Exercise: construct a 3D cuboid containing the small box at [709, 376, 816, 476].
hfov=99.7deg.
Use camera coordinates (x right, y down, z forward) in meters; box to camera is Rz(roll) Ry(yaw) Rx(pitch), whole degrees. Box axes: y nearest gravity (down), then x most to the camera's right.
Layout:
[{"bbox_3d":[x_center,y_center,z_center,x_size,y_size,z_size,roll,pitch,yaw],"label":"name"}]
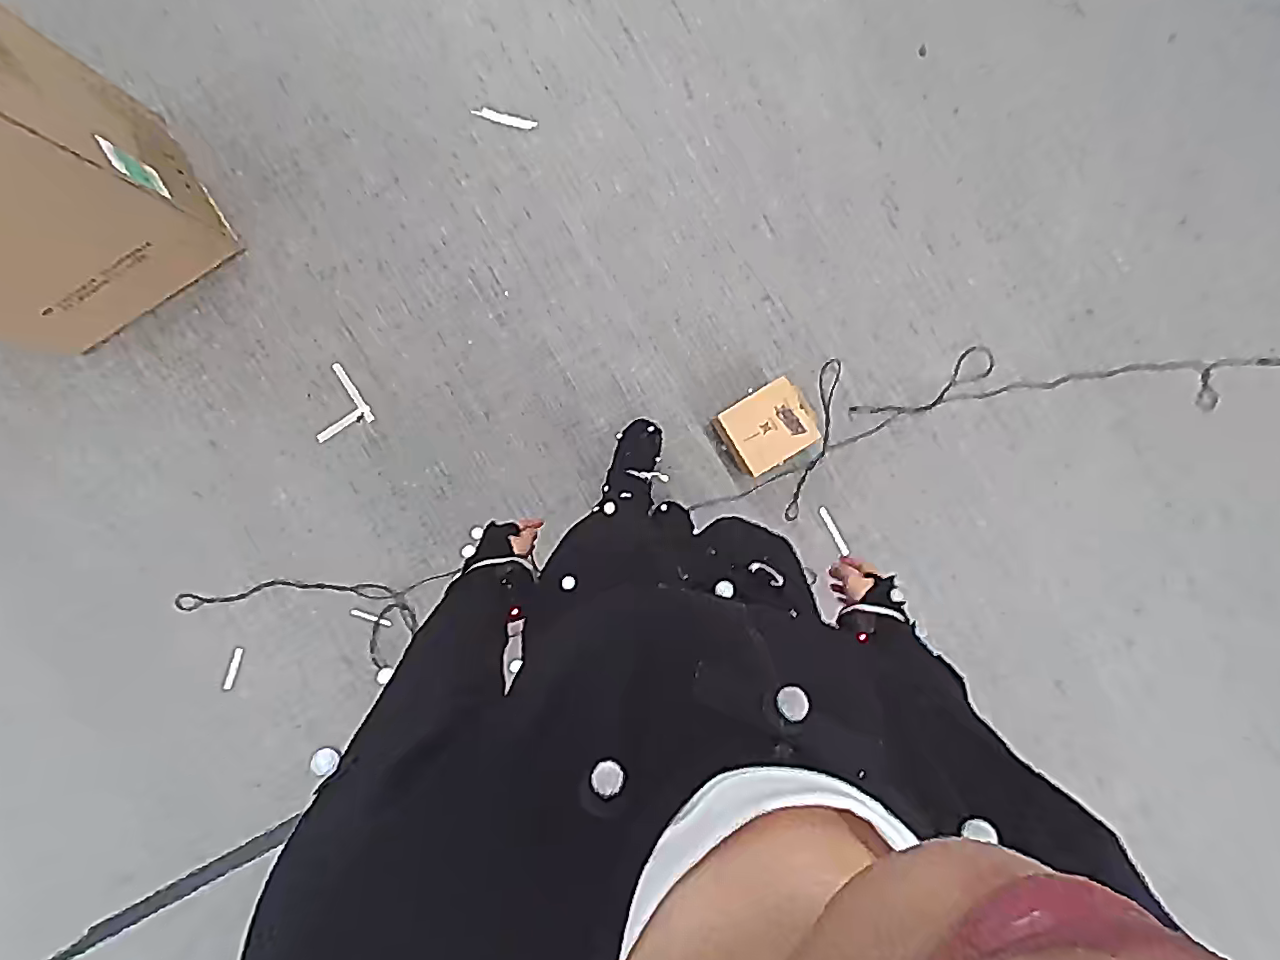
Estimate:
[{"bbox_3d":[0.282,-0.125,1.285,0.179,0.176,0.168,-31,91,3],"label":"small box"}]
